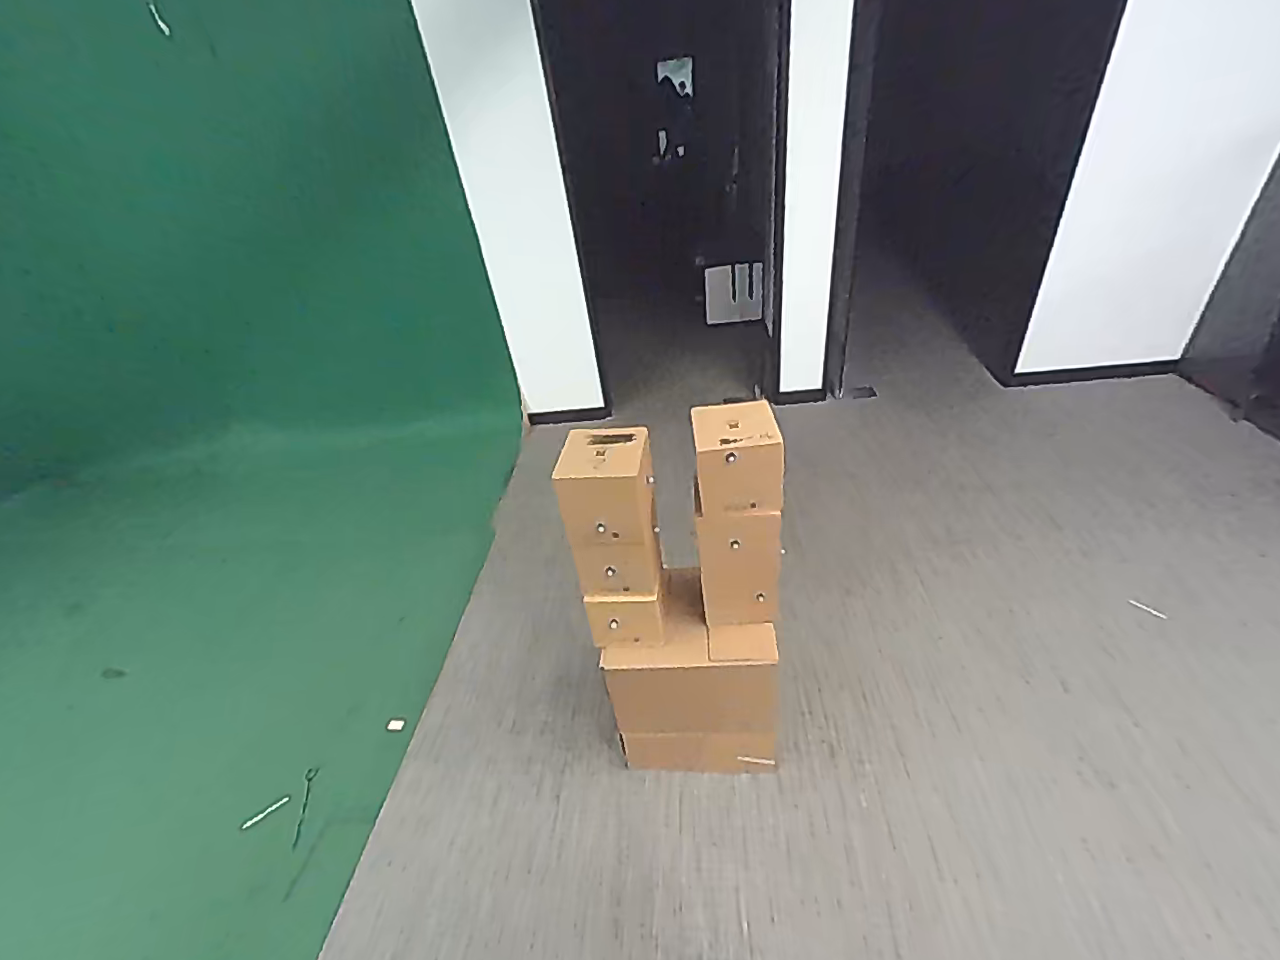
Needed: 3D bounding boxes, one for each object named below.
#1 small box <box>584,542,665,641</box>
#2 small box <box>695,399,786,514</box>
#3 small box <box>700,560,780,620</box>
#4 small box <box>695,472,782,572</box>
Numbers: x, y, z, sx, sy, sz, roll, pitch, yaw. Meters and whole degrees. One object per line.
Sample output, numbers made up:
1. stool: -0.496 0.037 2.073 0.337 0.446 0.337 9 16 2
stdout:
1. small box: -0.029 0.269 1.295 0.168 0.176 0.179 -2 36 7
2. small box: 0.204 -0.050 1.127 0.168 0.176 0.179 -6 35 6
3. small box: 0.237 0.222 1.310 0.179 0.176 0.168 -5 36 7
4. small box: 0.217 0.090 1.213 0.179 0.176 0.168 -5 36 8
